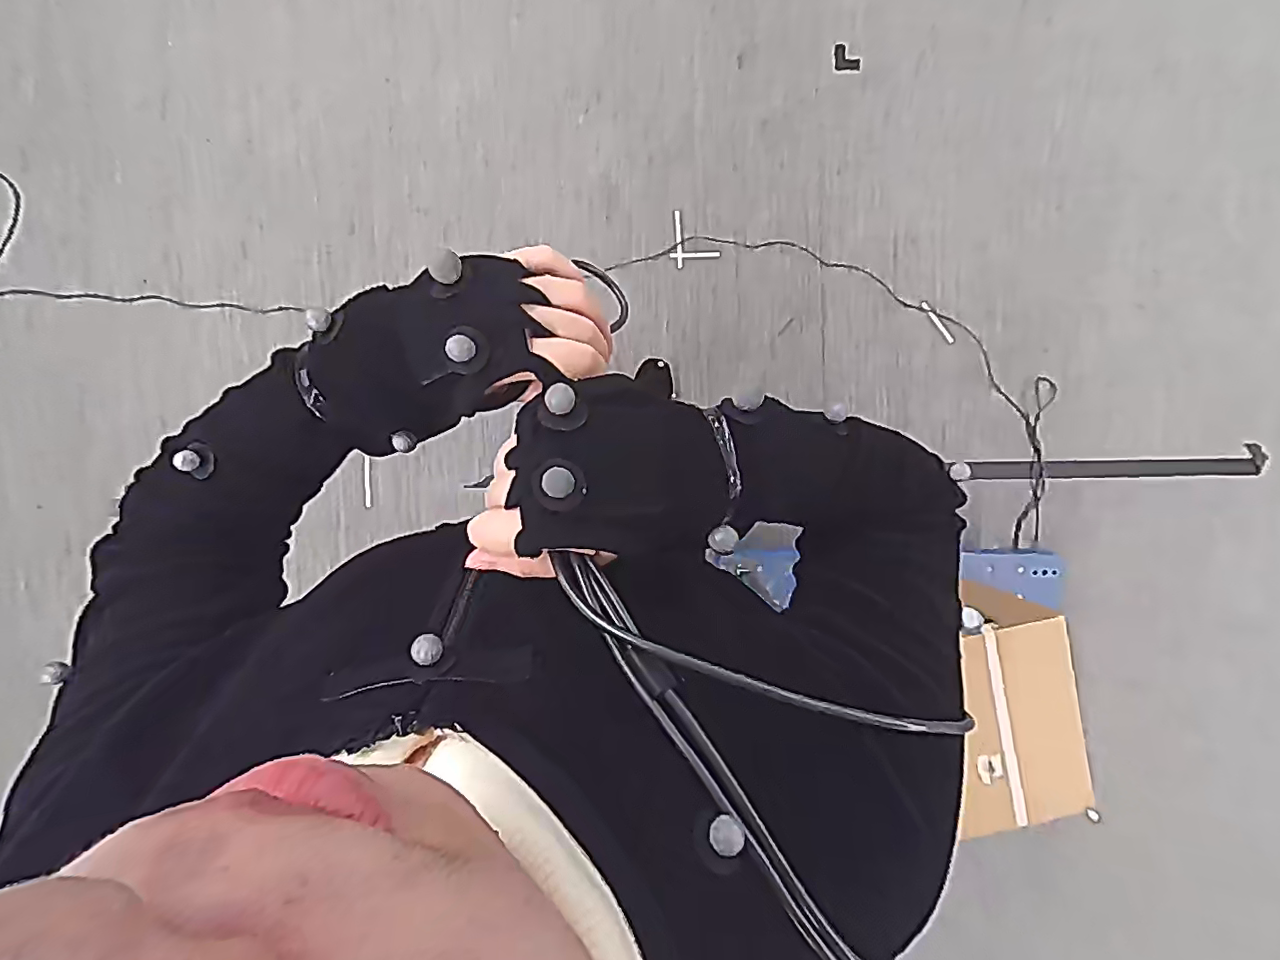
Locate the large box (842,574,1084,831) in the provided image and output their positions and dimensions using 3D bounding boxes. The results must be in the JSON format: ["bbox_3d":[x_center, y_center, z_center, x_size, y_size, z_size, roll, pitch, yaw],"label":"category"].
[{"bbox_3d":[0.692,0.464,1.209,0.320,0.320,0.408,-11,94,-1],"label":"large box"}]
